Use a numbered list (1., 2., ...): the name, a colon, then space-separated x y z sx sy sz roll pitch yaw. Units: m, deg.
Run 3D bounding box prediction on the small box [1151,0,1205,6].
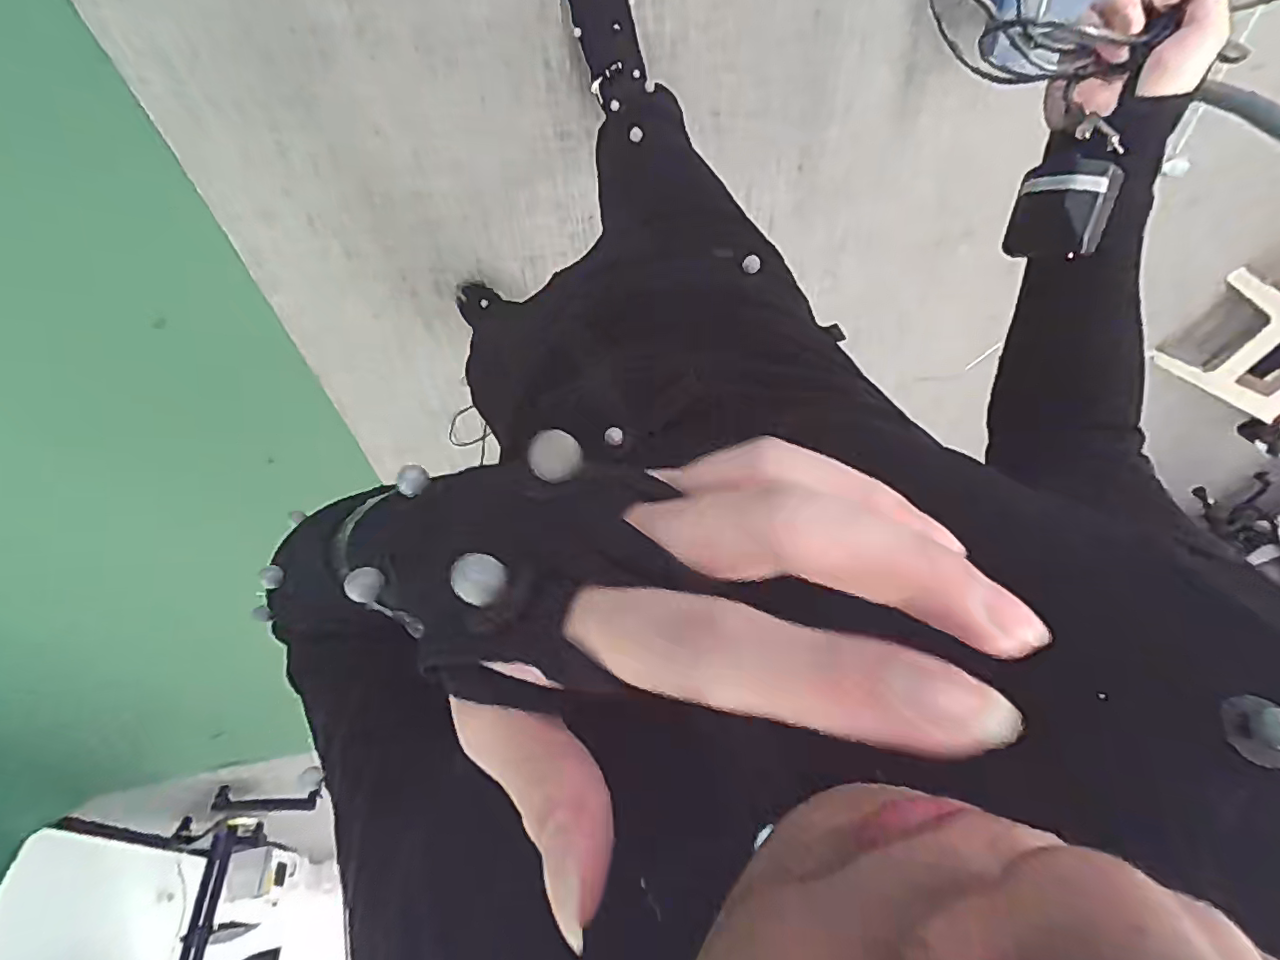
1. small box: 1.004 -0.963 0.941 0.179 0.176 0.168 -13 138 1
